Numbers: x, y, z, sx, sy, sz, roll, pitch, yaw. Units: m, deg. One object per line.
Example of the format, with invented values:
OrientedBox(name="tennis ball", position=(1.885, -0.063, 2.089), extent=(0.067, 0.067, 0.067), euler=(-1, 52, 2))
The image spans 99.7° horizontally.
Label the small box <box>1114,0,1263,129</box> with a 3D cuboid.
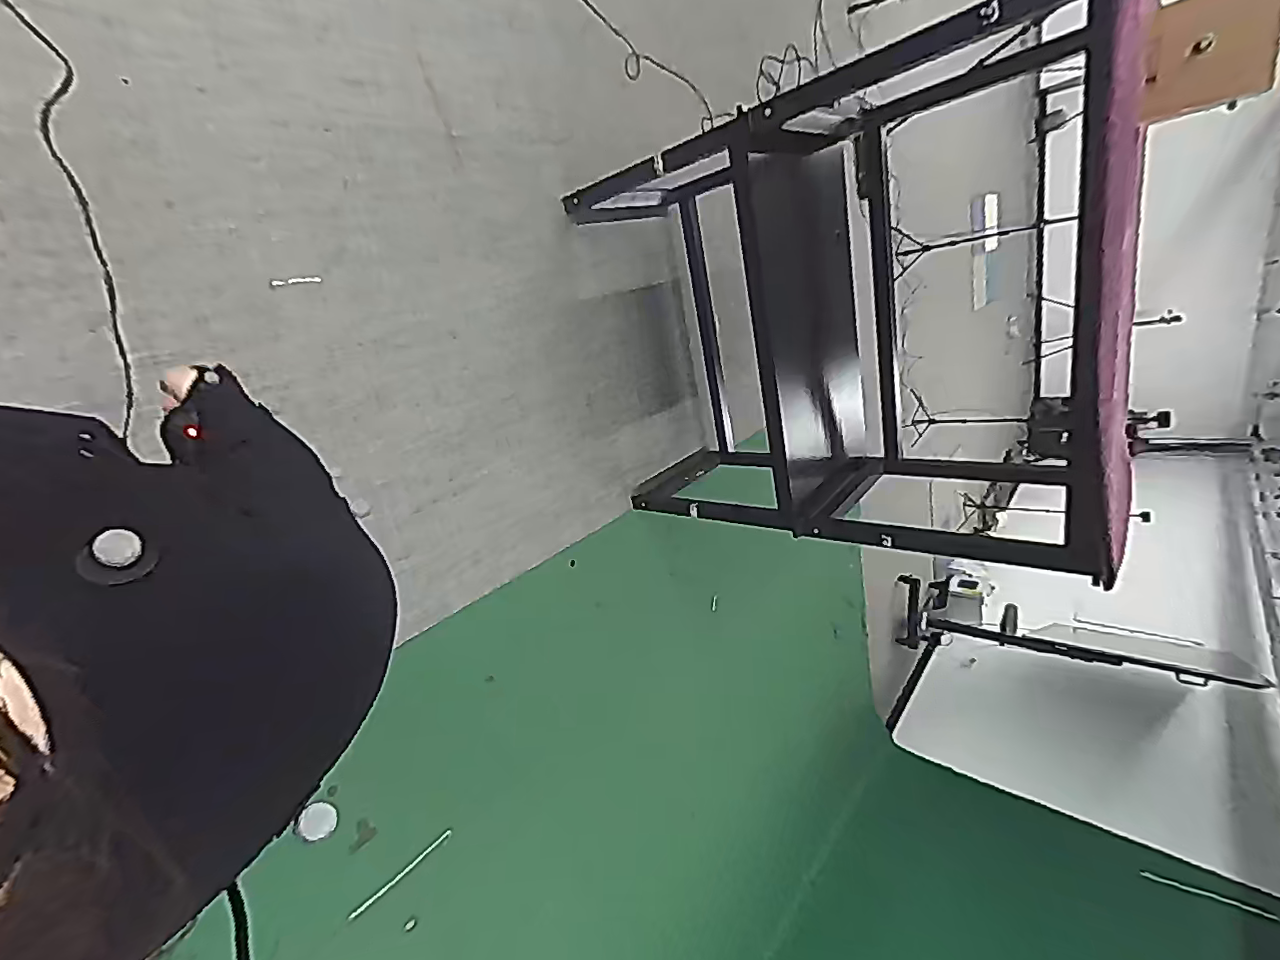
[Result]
OrientedBox(name="small box", position=(0.947, -0.735, 0.943), extent=(0.179, 0.176, 0.168), euler=(-31, 117, -41))
